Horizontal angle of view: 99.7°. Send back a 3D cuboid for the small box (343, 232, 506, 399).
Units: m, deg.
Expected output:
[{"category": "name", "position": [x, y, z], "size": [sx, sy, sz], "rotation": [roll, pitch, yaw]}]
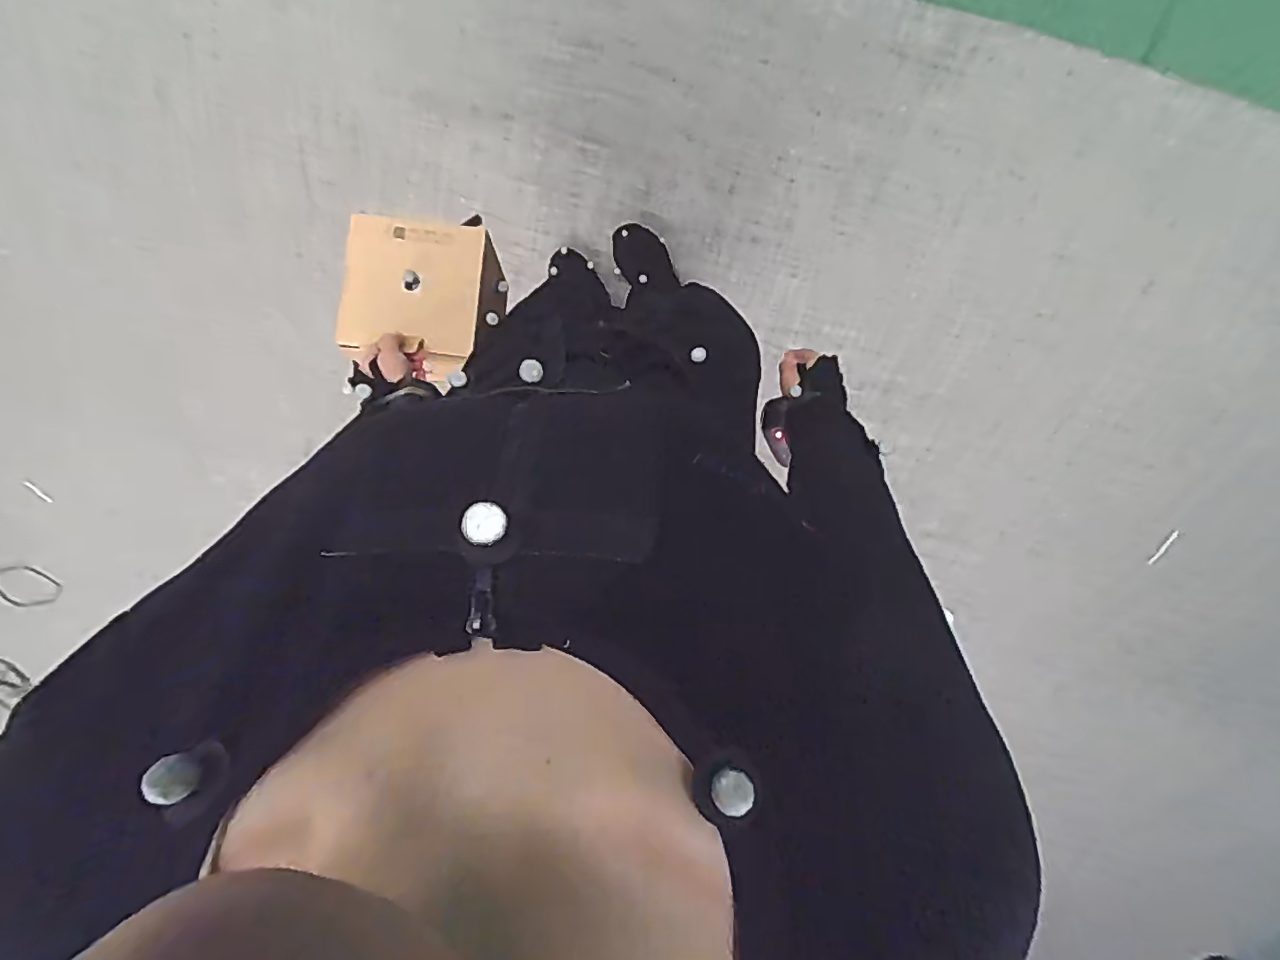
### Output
[{"category": "small box", "position": [-0.285, -0.219, 0.750], "size": [0.168, 0.179, 0.176], "rotation": [4, 84, -4]}]
